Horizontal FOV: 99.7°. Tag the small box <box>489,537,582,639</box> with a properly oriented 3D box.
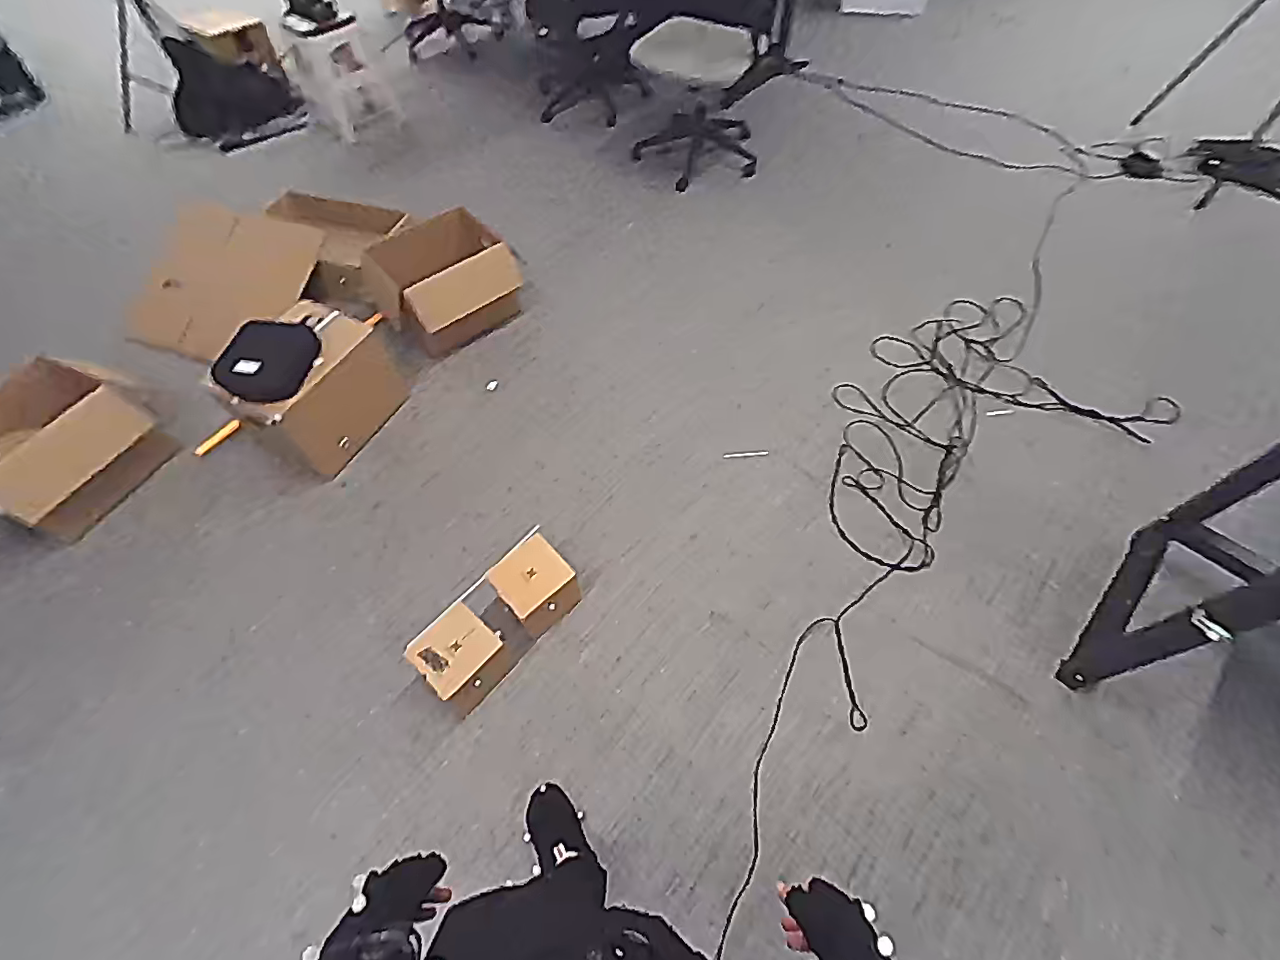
[{"bbox_3d":[-0.268,0.289,1.434,0.179,0.176,0.168,-39,64,-20],"label":"small box"}]

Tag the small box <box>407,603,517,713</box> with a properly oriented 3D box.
[{"bbox_3d":[-0.430,0.445,1.336,0.168,0.176,0.179,36,64,22],"label":"small box"}]
